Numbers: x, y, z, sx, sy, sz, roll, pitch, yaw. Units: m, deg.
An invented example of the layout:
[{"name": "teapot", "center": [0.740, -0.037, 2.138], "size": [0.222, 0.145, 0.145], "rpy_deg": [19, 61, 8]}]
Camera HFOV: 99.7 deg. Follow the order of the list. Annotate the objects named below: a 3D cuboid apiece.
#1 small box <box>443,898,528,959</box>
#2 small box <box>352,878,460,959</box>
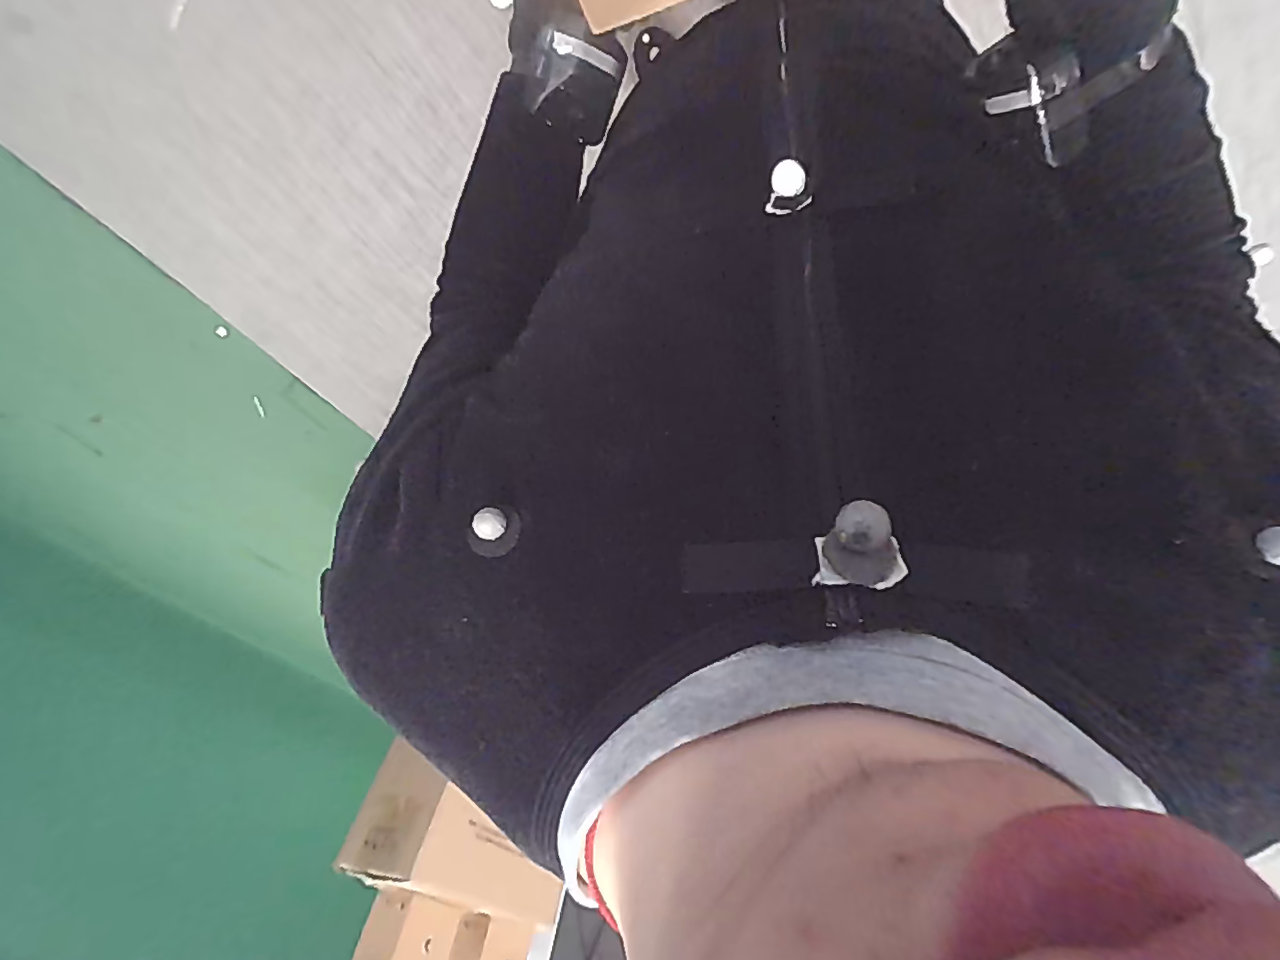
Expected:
[{"name": "small box", "center": [-0.455, 1.349, 1.580], "size": [0.168, 0.176, 0.179], "rpy_deg": [-23, 126, 30]}, {"name": "small box", "center": [-0.625, 1.196, 1.462], "size": [0.168, 0.176, 0.179], "rpy_deg": [-23, 127, 29]}]
